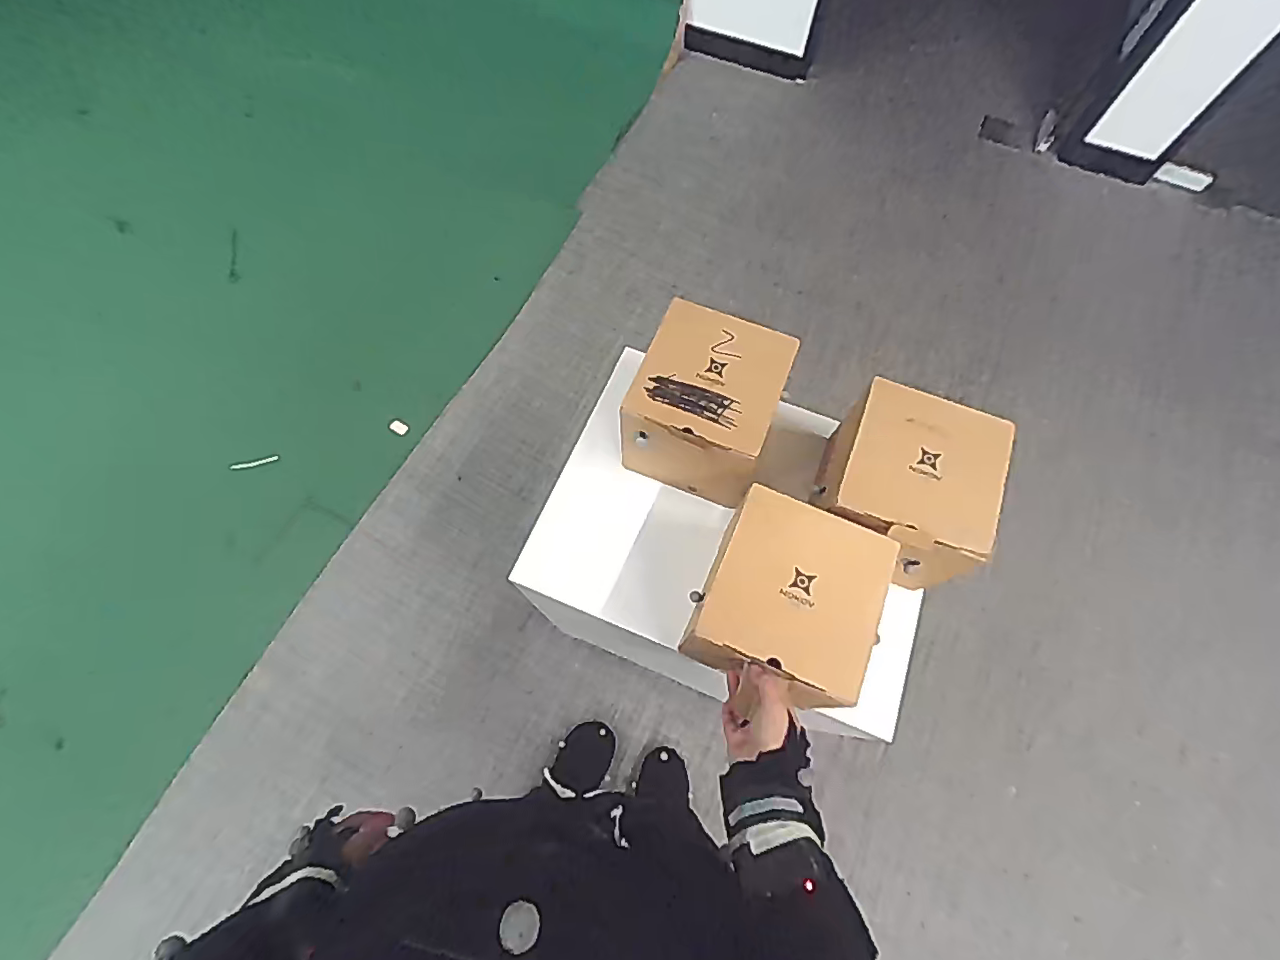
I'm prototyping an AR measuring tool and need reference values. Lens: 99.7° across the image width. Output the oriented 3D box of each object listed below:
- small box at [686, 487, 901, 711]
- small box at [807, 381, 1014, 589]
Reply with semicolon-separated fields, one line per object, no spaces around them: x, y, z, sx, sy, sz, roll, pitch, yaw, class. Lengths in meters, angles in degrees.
0.160;0.141;0.611;0.168;0.176;0.179;23;68;8;small box
0.314;0.016;0.665;0.168;0.176;0.179;21;68;7;small box
